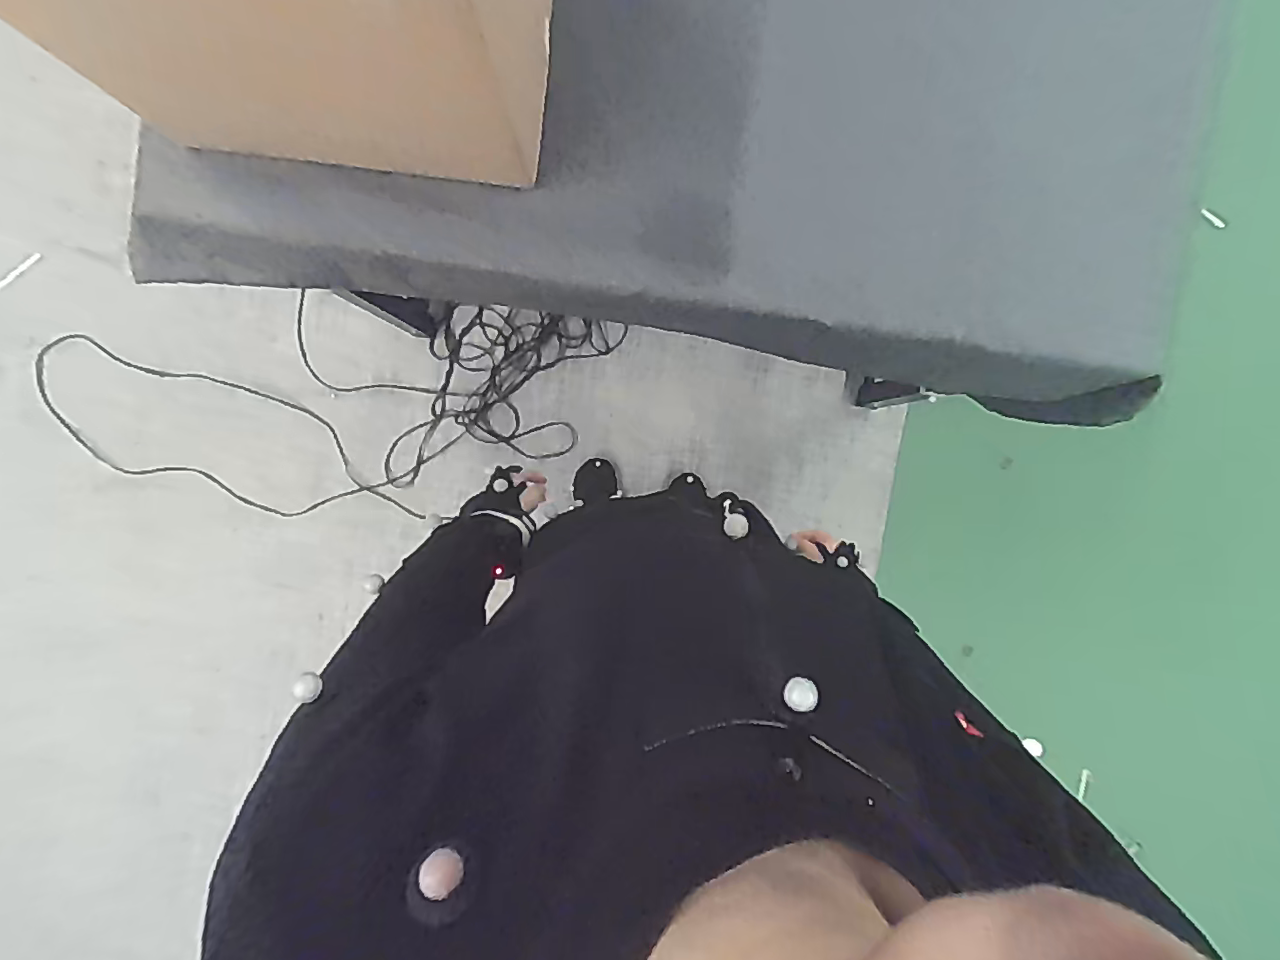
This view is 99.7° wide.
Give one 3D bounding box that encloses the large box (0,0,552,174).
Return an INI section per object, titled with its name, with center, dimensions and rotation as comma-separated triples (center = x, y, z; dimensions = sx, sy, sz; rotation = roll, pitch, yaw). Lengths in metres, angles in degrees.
[large box]
center = -0.292, -0.503, 0.451
dimensions = 0.408, 0.320, 0.320
rotation = 5, 93, -3
